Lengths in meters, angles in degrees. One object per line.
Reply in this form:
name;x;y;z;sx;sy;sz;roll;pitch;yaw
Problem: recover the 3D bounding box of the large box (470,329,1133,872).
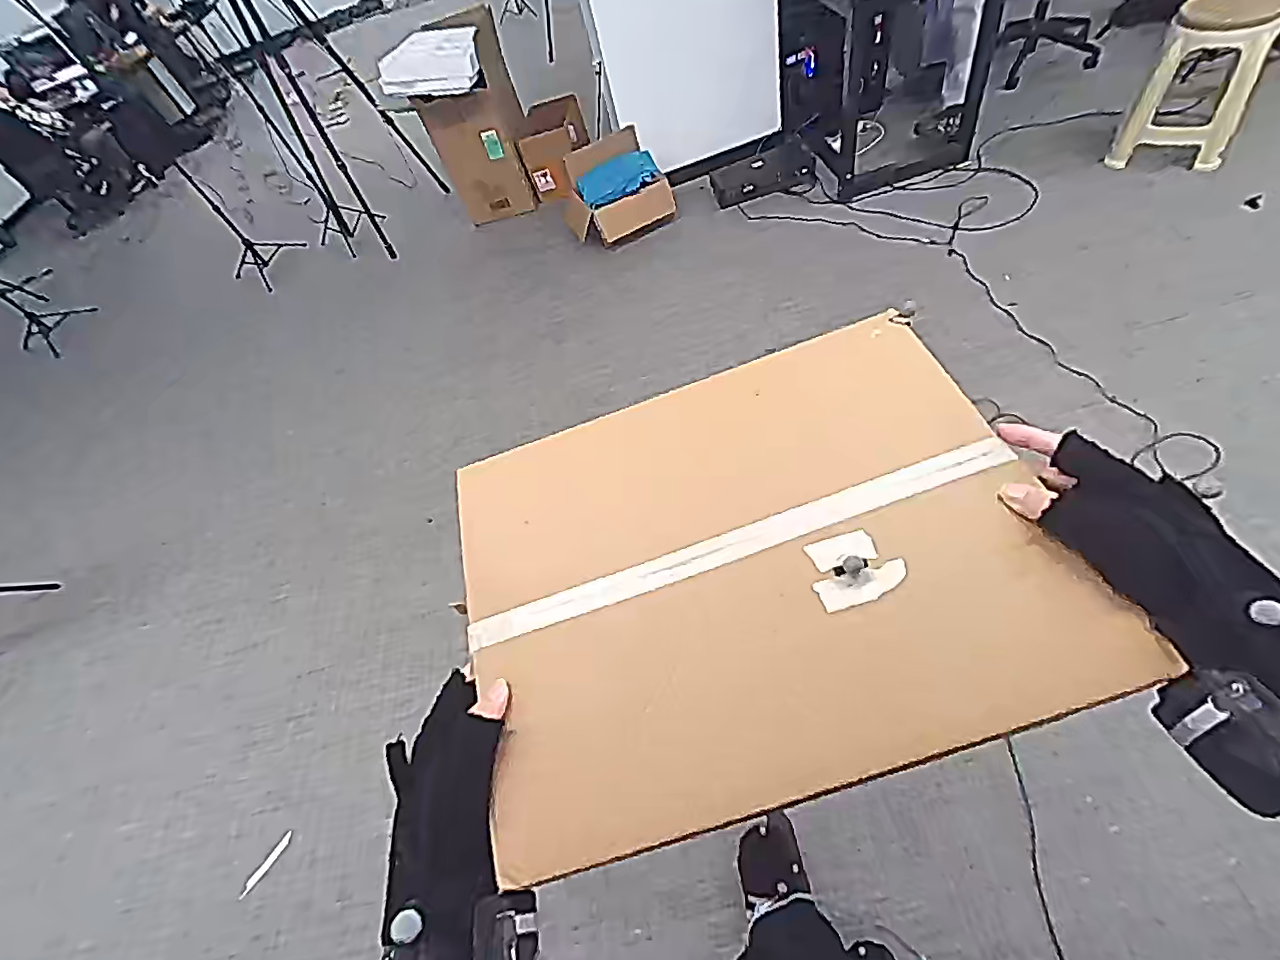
large box;0.100;0.128;0.530;0.408;0.320;0.320;-20;58;2
